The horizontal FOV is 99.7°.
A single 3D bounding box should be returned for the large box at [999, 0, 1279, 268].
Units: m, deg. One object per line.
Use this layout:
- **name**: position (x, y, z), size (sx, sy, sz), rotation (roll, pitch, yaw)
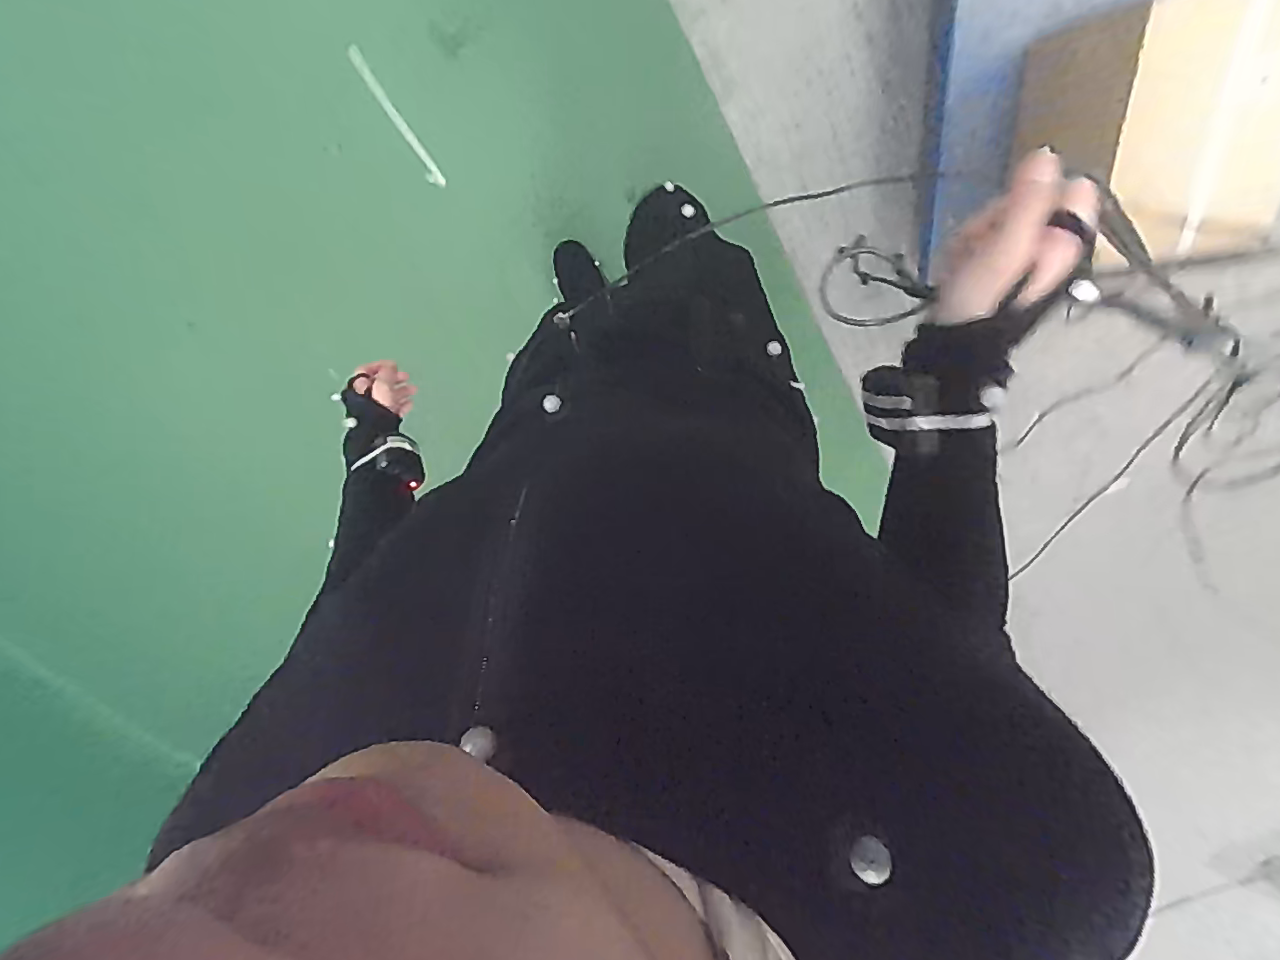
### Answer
- **large box**: position (0.956, -0.652, 1.032), size (0.320, 0.320, 0.408), rotation (-7, 118, 3)
